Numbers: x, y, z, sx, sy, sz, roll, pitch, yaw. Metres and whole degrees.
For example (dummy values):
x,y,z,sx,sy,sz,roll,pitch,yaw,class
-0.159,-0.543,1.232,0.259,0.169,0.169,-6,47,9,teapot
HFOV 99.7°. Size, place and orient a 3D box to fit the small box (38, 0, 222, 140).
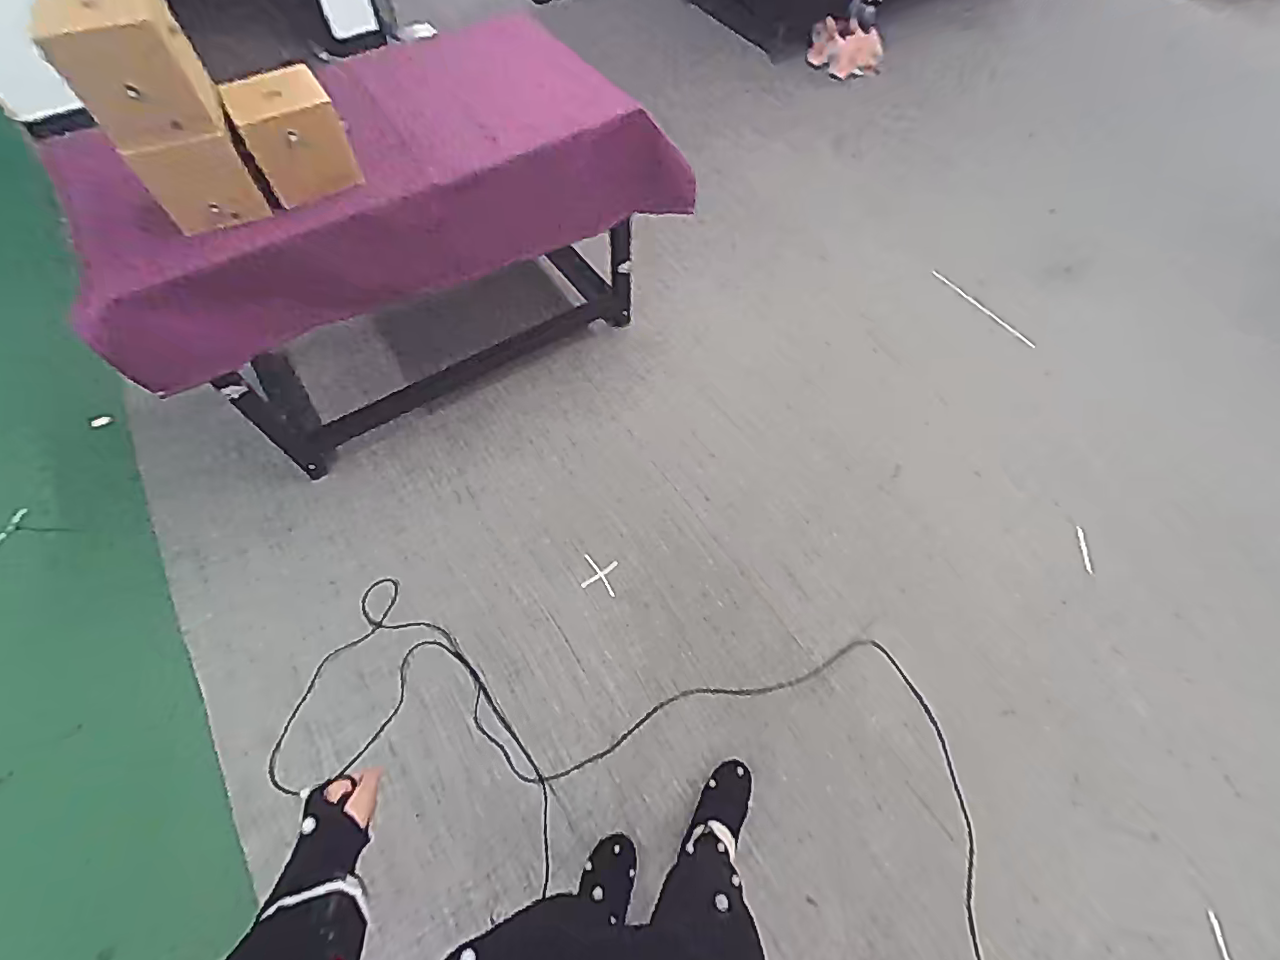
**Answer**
x,y,z,sx,sy,sz,roll,pitch,yaw,class
-0.855,-0.710,0.926,0.168,0.176,0.179,-20,63,-14,small box
